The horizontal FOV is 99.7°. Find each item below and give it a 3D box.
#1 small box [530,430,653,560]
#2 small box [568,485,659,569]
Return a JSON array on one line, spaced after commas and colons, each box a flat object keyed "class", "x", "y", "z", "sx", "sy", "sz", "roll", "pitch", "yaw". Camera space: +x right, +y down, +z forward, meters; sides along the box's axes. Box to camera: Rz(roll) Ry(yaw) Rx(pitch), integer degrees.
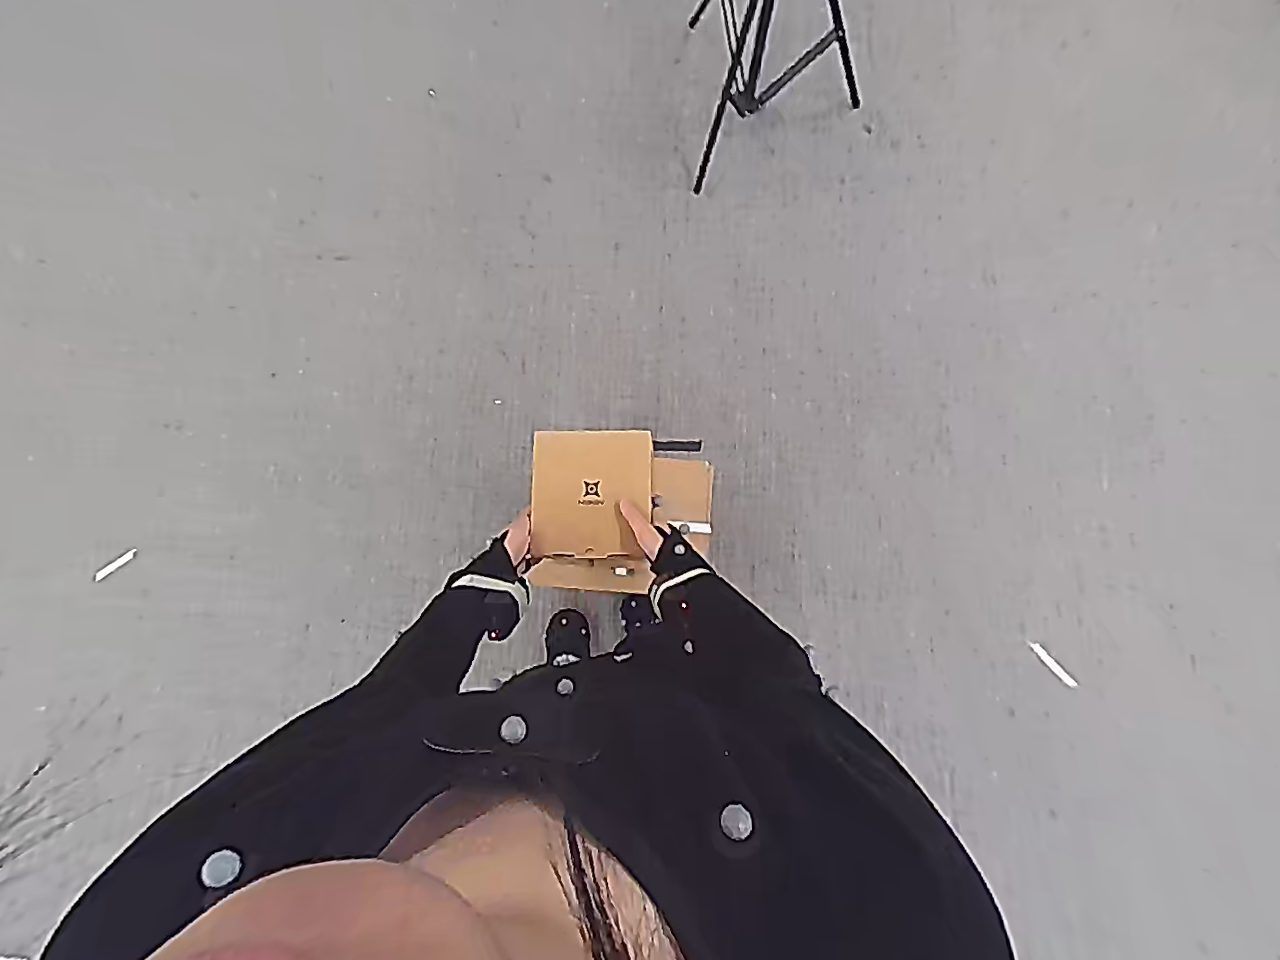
[{"class": "small box", "x": -0.065, "y": 0.030, "z": 0.818, "sx": 0.168, "sy": 0.176, "sz": 0.179, "roll": -1, "pitch": 81, "yaw": 2}, {"class": "small box", "x": -0.050, "y": 0.100, "z": 1.139, "sx": 0.179, "sy": 0.176, "sz": 0.168, "roll": 2, "pitch": 82, "yaw": 1}]
